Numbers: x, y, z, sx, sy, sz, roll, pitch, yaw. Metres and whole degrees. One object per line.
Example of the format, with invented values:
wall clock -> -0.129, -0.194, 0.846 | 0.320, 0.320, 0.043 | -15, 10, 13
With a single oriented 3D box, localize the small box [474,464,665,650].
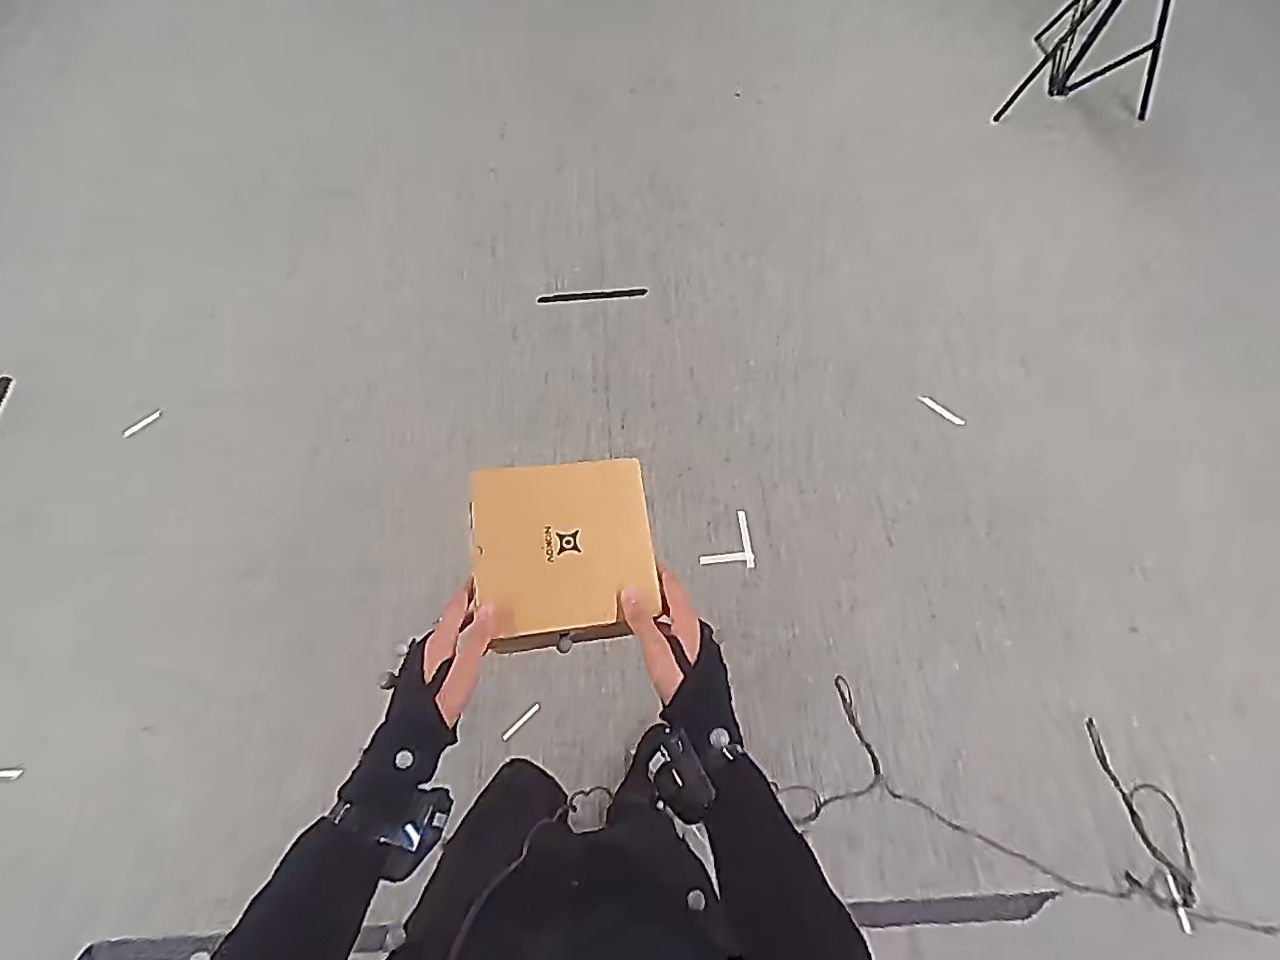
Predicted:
small box -> -0.081, 0.092, 0.604 | 0.179, 0.176, 0.168 | -5, 70, -9
